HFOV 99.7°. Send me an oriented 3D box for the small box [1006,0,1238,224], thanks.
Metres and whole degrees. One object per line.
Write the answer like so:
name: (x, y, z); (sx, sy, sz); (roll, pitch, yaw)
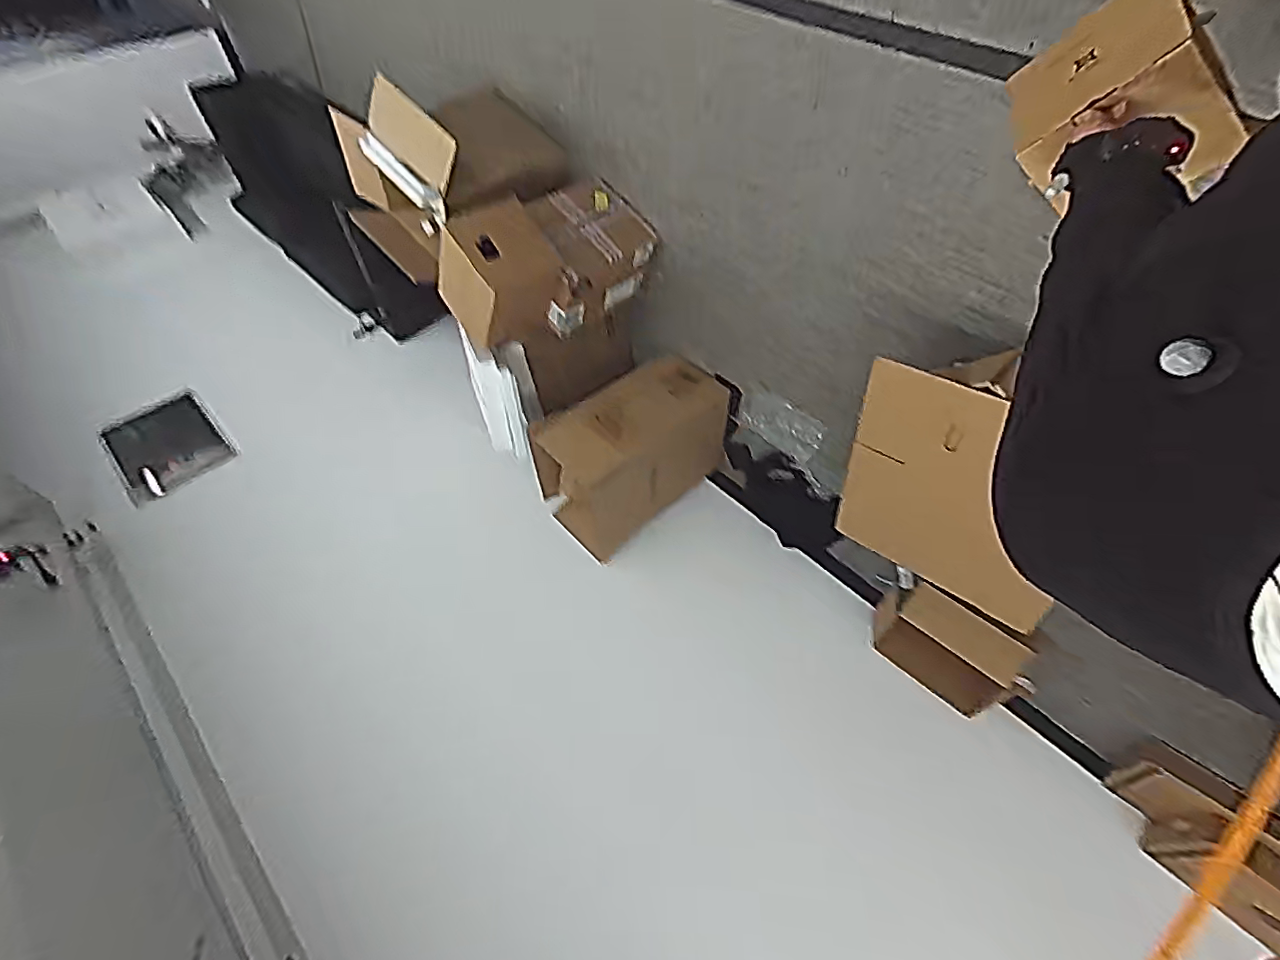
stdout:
small box: (0.585, -0.453, 0.668); (0.176, 0.179, 0.168); (29, 153, -24)
